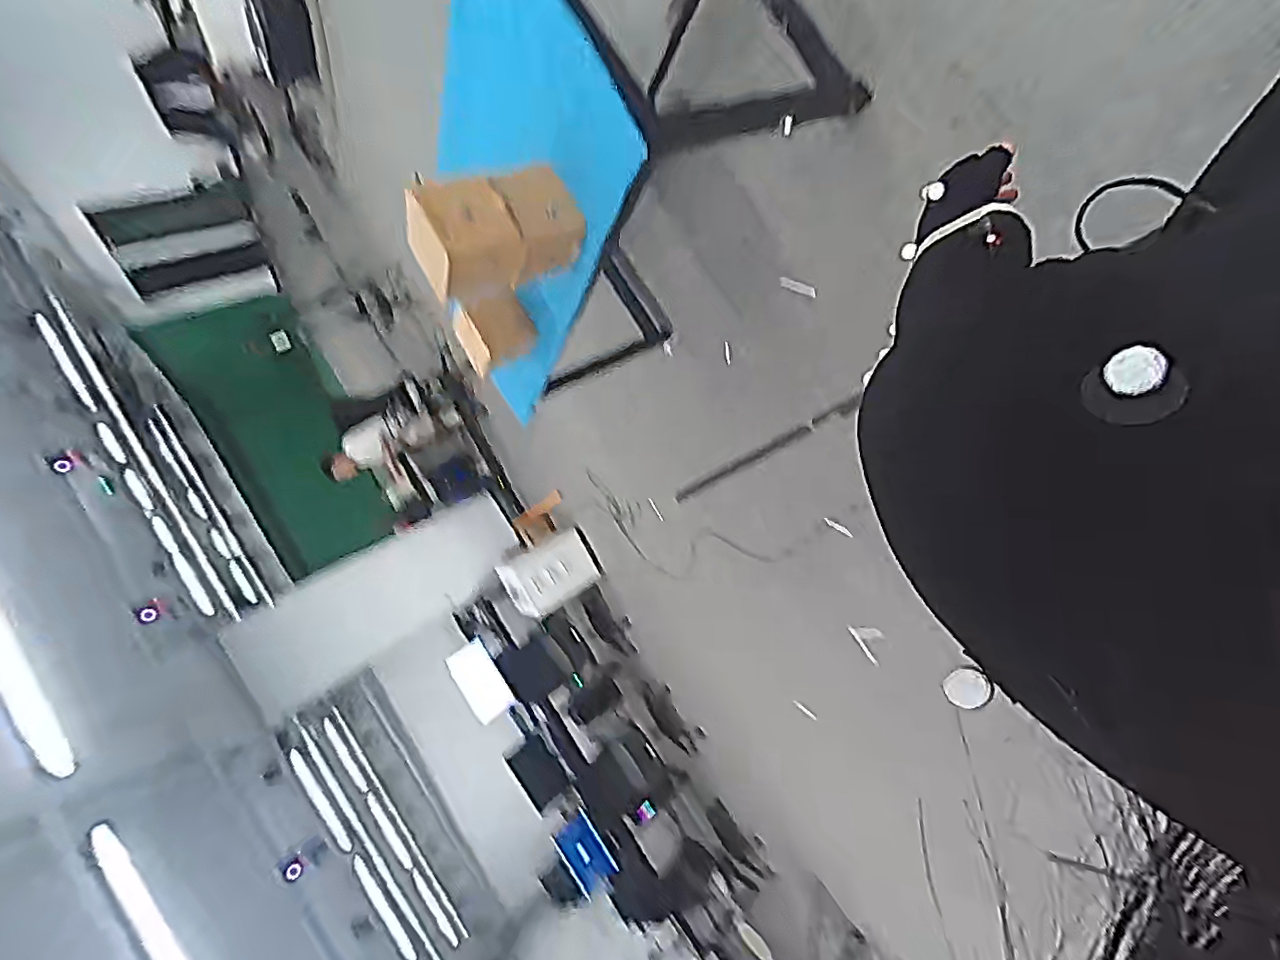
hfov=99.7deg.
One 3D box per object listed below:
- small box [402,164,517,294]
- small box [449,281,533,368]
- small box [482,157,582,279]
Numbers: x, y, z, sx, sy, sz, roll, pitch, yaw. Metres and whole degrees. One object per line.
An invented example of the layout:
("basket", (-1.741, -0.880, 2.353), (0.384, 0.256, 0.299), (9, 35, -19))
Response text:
("small box", (-0.387, -0.525, 1.148), (0.168, 0.176, 0.179), (60, 154, 2))
("small box", (-0.457, -0.466, 1.642), (0.179, 0.176, 0.168), (59, 150, -2))
("small box", (-0.263, -0.591, 1.232), (0.179, 0.176, 0.168), (58, 151, 3))
